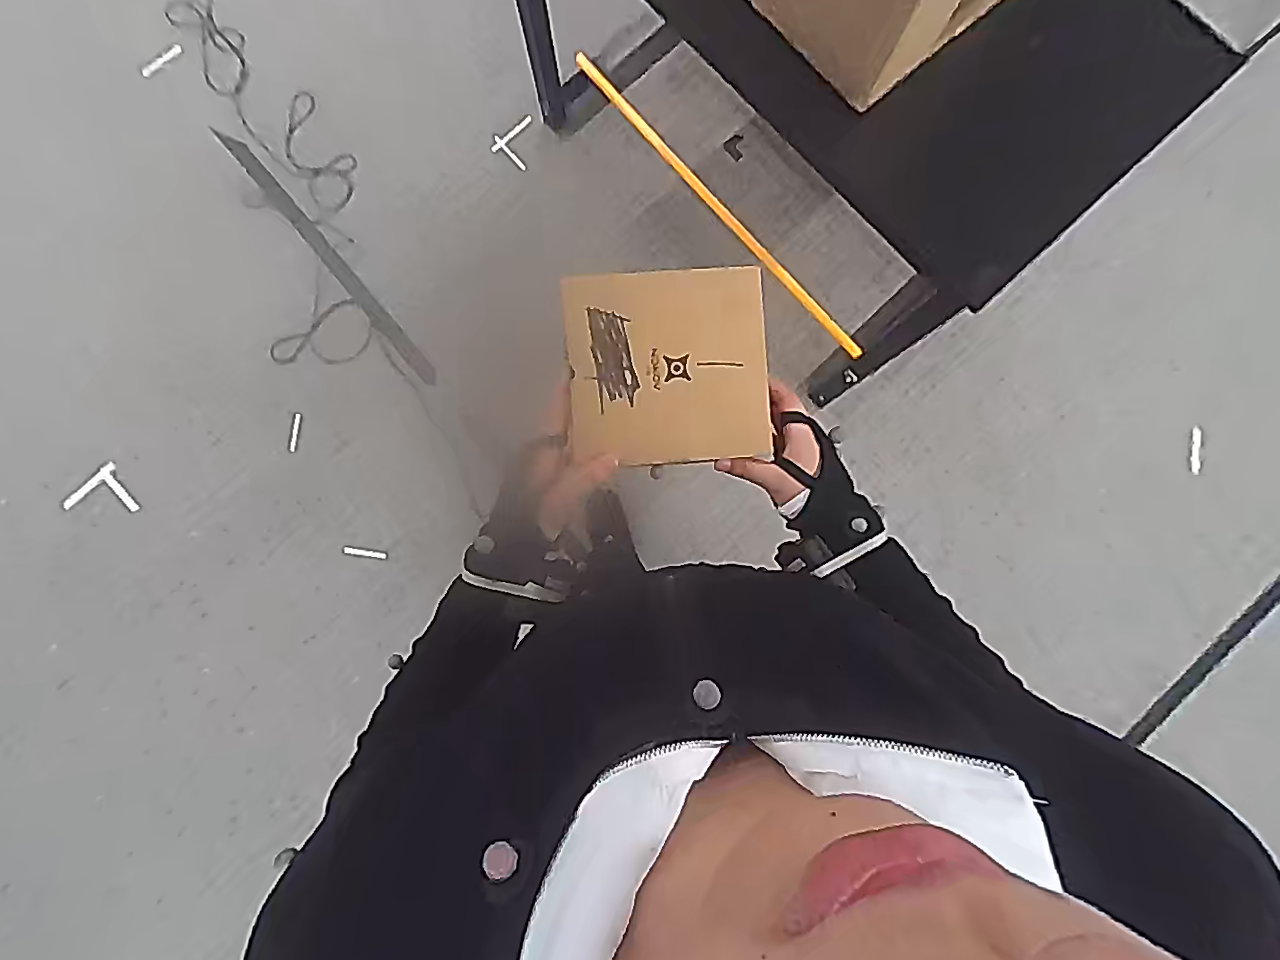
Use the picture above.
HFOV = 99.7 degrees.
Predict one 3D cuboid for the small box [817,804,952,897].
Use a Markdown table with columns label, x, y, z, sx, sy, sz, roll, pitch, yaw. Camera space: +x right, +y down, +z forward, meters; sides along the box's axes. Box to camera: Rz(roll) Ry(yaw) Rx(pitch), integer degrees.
| label | x | y | z | sx | sy | sz | roll | pitch | yaw |
| --- | --- | --- | --- | --- | --- | --- | --- | --- | --- |
| small box | 0.522 | 0.852 | 1.182 | 0.179 | 0.176 | 0.168 | 41 | 85 | 4 |

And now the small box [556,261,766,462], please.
| label | x | y | z | sx | sy | sz | roll | pitch | yaw |
| --- | --- | --- | --- | --- | --- | --- | --- | --- | --- |
| small box | 0.015 | -0.105 | 0.541 | 0.179 | 0.176 | 0.168 | -3 | 92 | -4 |

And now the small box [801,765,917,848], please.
| label | x | y | z | sx | sy | sz | roll | pitch | yaw |
| --- | --- | --- | --- | --- | --- | --- | --- | --- | --- |
| small box | 0.536 | 0.856 | 1.347 | 0.179 | 0.176 | 0.168 | 42 | 85 | 5 |
